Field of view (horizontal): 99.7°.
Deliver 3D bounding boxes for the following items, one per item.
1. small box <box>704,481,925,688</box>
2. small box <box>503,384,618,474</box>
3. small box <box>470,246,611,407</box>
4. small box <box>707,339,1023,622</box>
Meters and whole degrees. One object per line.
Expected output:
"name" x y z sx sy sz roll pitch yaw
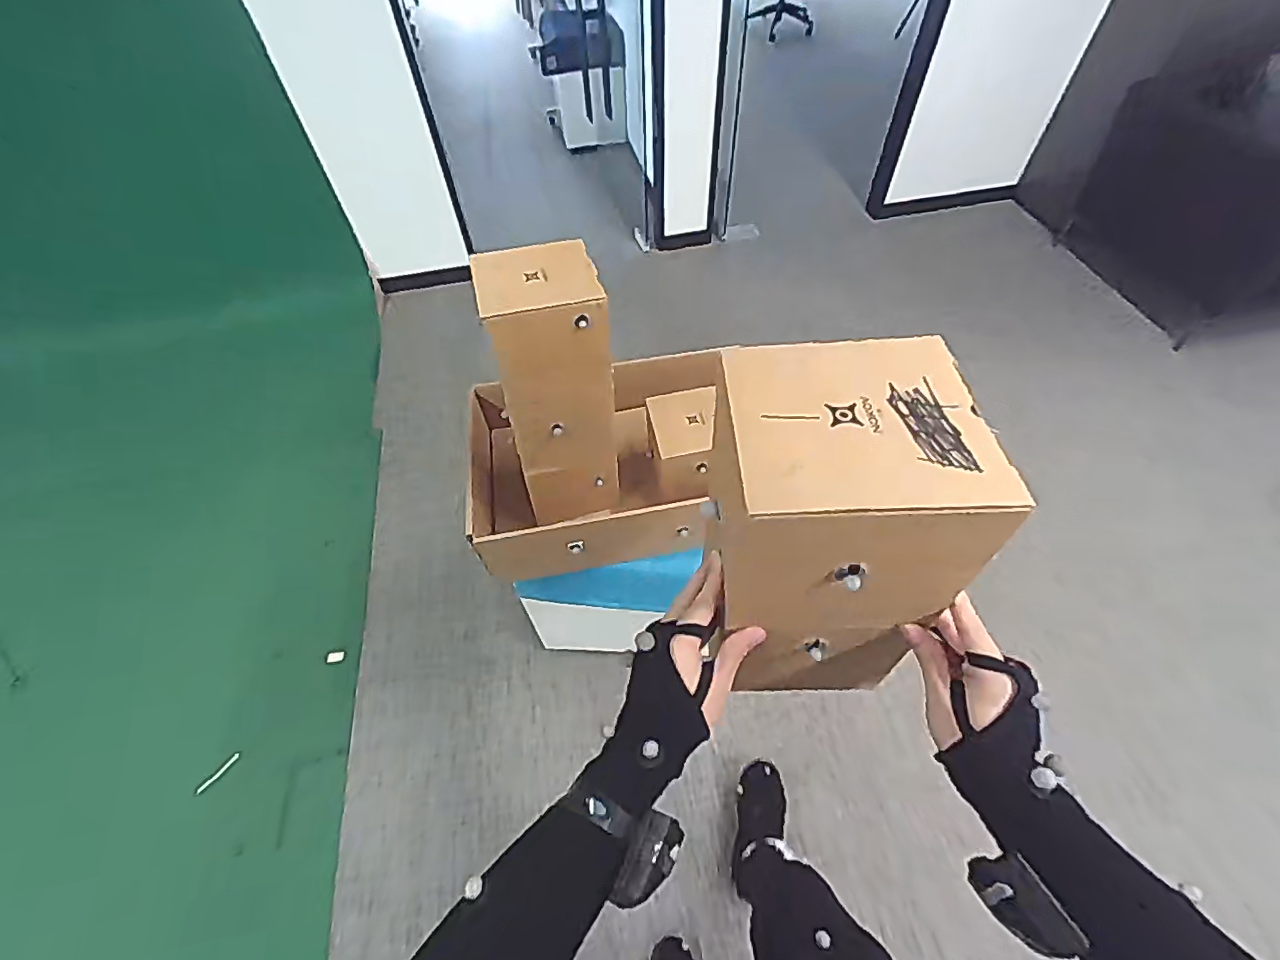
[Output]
"small box" 0.159 0.110 0.569 0.179 0.176 0.168 -1 50 2
"small box" -0.145 -0.132 0.966 0.179 0.176 0.168 -13 53 -9
"small box" -0.150 -0.233 0.838 0.179 0.176 0.168 -13 53 -10
"small box" 0.152 0.006 0.443 0.179 0.176 0.168 -2 51 2
